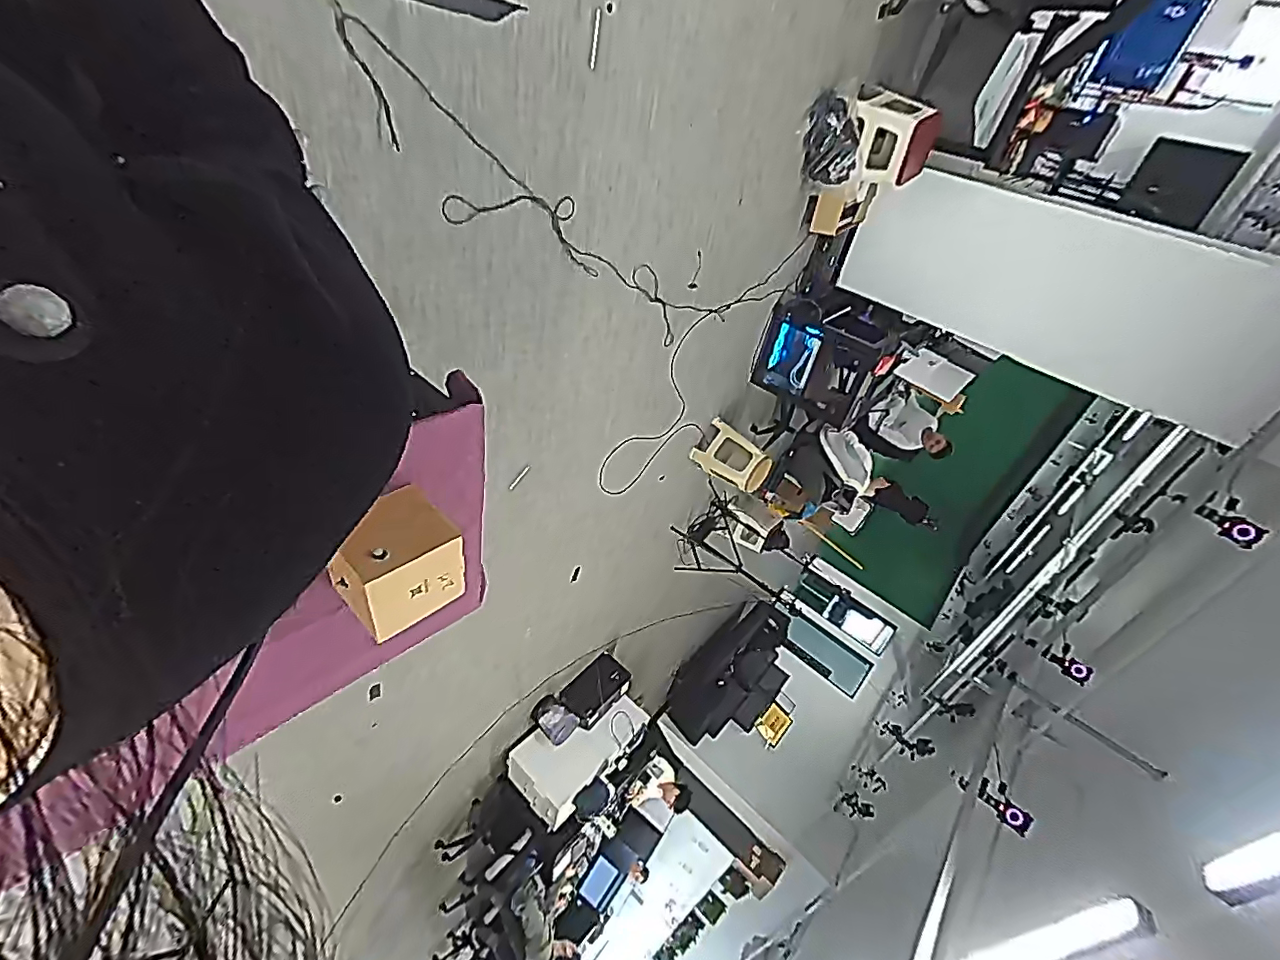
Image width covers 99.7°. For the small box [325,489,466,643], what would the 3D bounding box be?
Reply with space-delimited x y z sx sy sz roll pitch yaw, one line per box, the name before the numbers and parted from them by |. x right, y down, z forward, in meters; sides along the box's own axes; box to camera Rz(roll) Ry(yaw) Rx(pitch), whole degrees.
small box | -0.436 0.146 0.969 0.179 0.176 0.168 -31 147 -40
